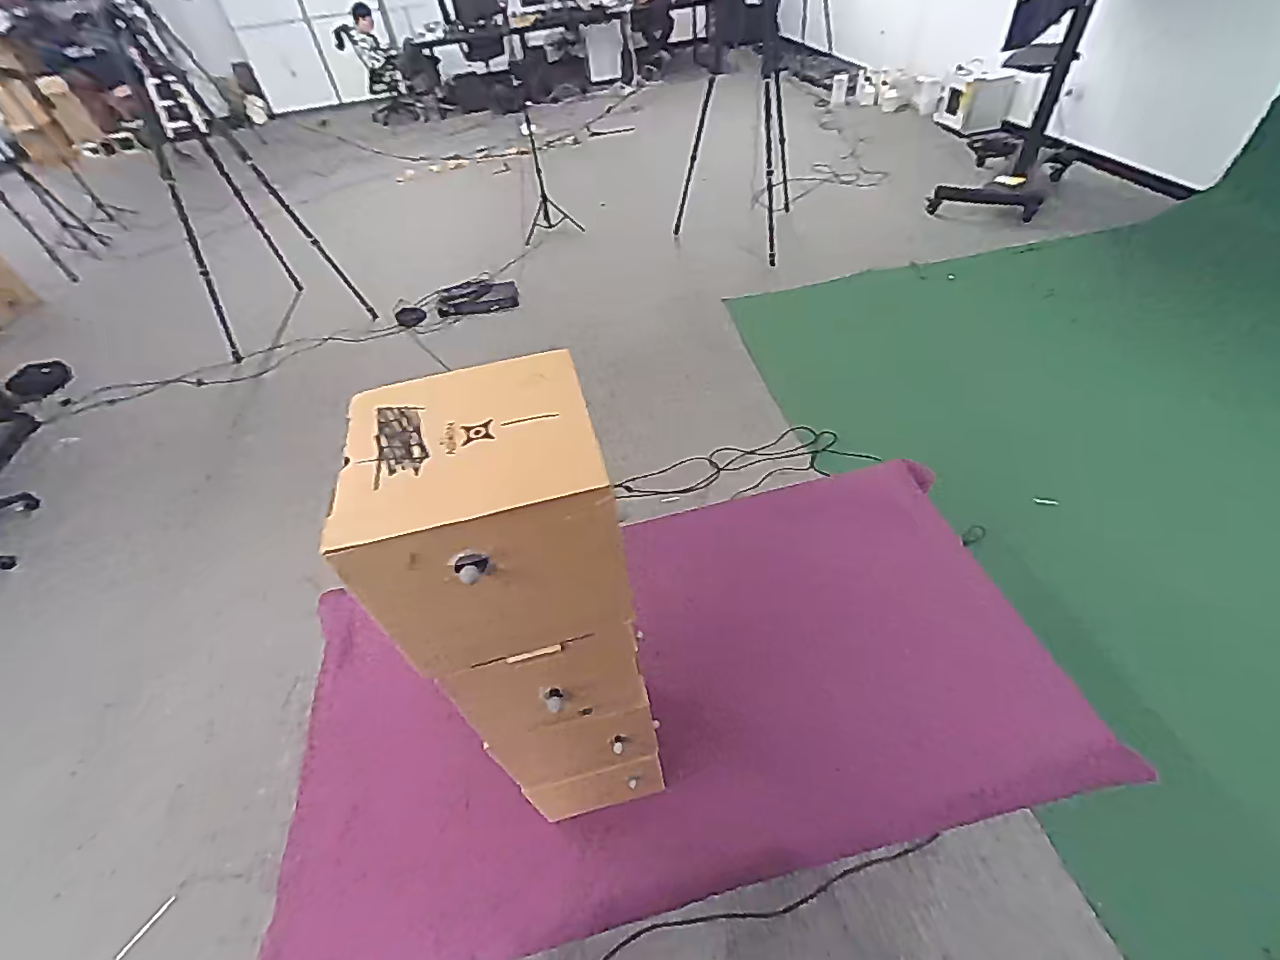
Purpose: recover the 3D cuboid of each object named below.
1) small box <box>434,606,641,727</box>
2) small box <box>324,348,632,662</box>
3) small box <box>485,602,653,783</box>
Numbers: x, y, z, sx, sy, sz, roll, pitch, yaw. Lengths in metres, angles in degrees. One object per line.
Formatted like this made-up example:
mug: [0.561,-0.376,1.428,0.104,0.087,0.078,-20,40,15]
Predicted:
small box: [-0.101,0.134,0.558,0.168,0.176,0.179,-13,47,-6]
small box: [-0.113,0.022,0.437,0.179,0.176,0.168,-13,46,-7]
small box: [-0.084,0.249,0.672,0.179,0.176,0.168,-13,46,-5]
